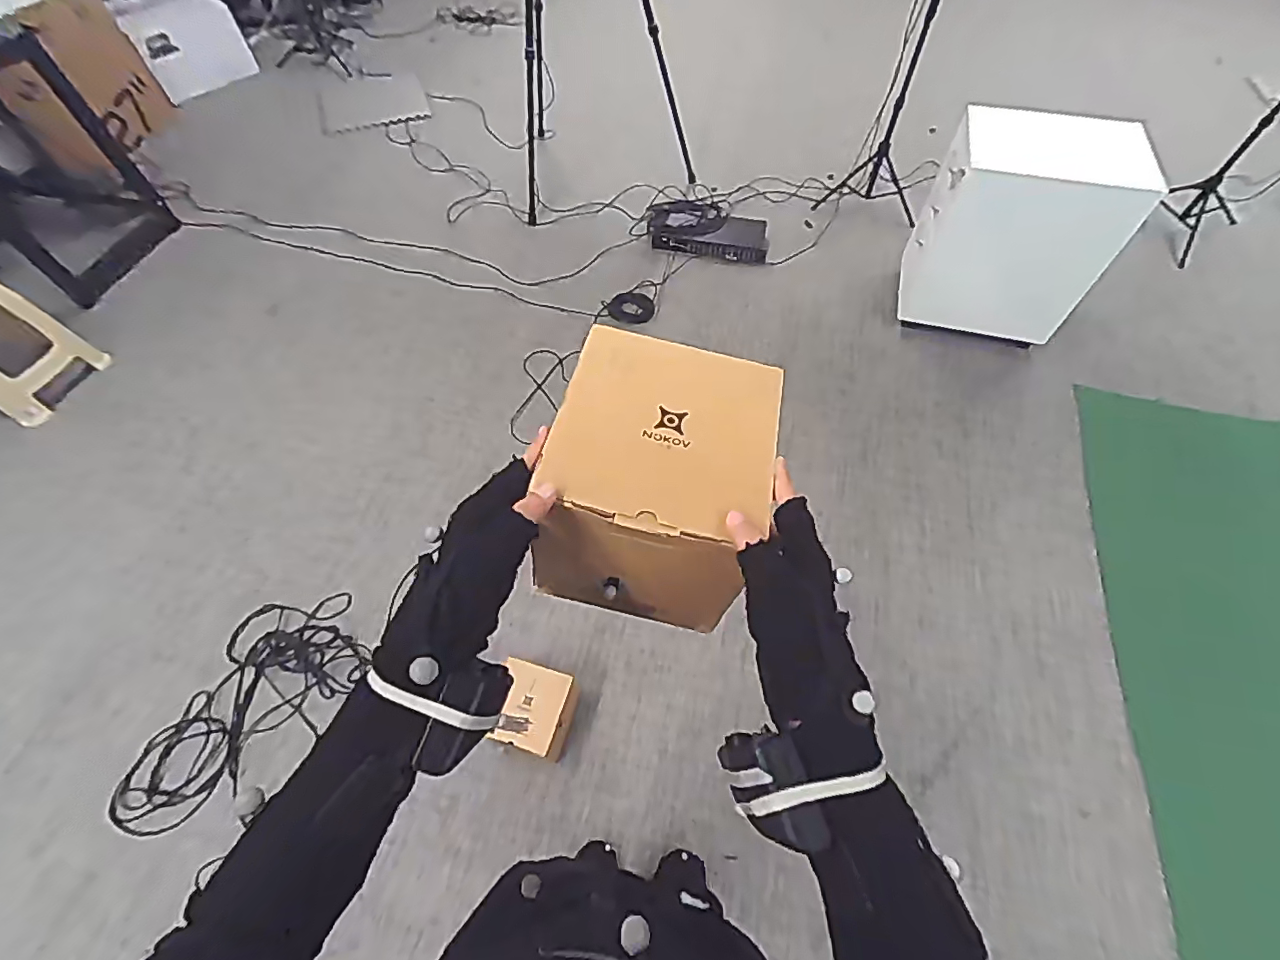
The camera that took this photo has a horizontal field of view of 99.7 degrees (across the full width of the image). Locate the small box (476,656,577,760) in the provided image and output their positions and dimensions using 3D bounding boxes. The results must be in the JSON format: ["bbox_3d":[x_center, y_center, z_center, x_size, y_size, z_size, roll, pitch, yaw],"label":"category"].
[{"bbox_3d":[-0.257,0.545,1.281,0.168,0.176,0.179,14,58,9],"label":"small box"}]
